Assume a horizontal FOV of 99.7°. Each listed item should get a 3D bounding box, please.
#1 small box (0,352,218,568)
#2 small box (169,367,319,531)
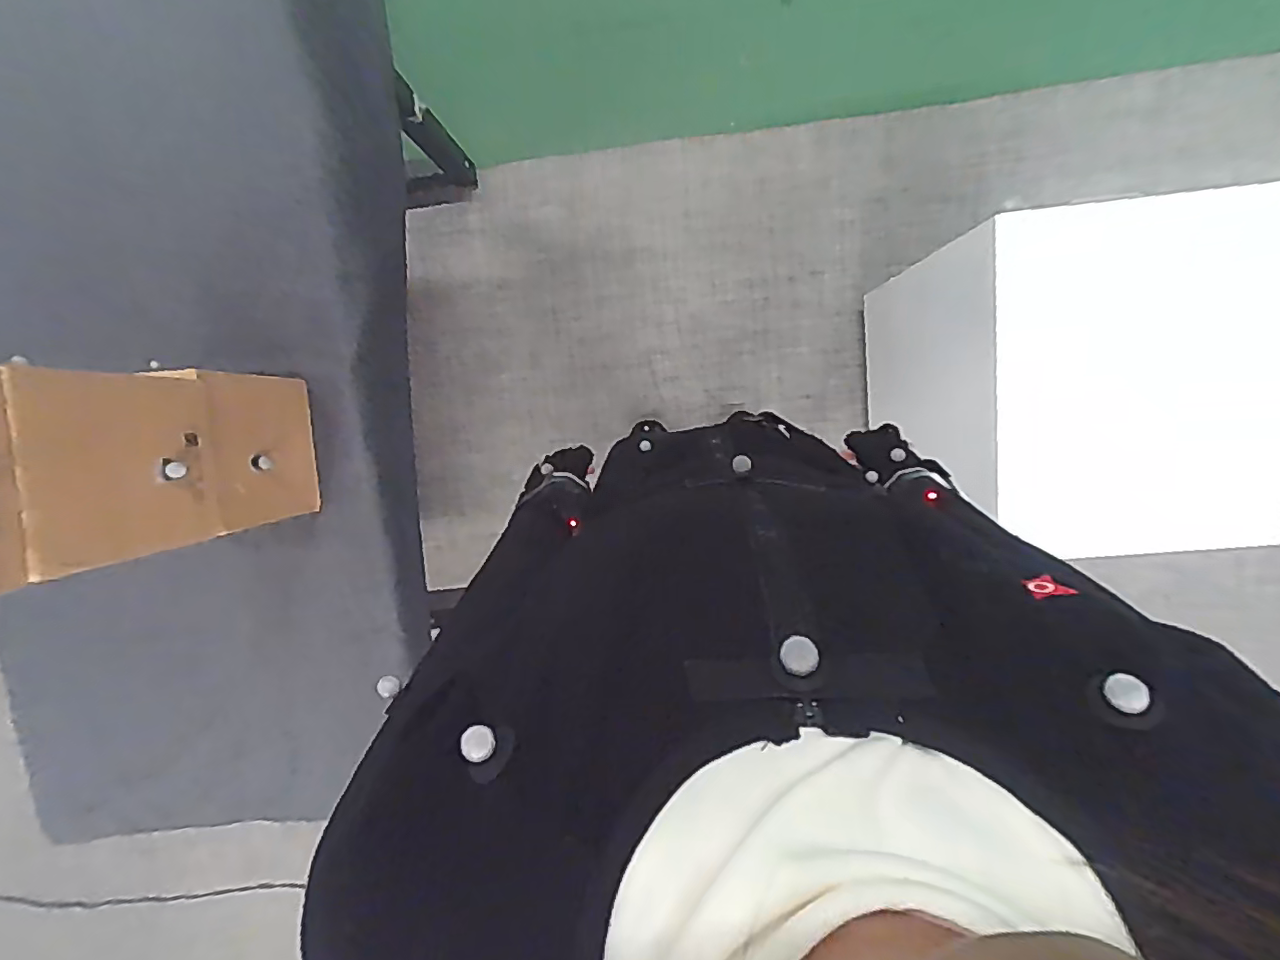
[{"bbox_3d":[-0.542,-0.020,0.495,0.179,0.176,0.168,-2,97,7],"label":"small box"},{"bbox_3d":[-0.523,-0.041,0.657,0.168,0.176,0.179,-2,98,5],"label":"small box"}]
